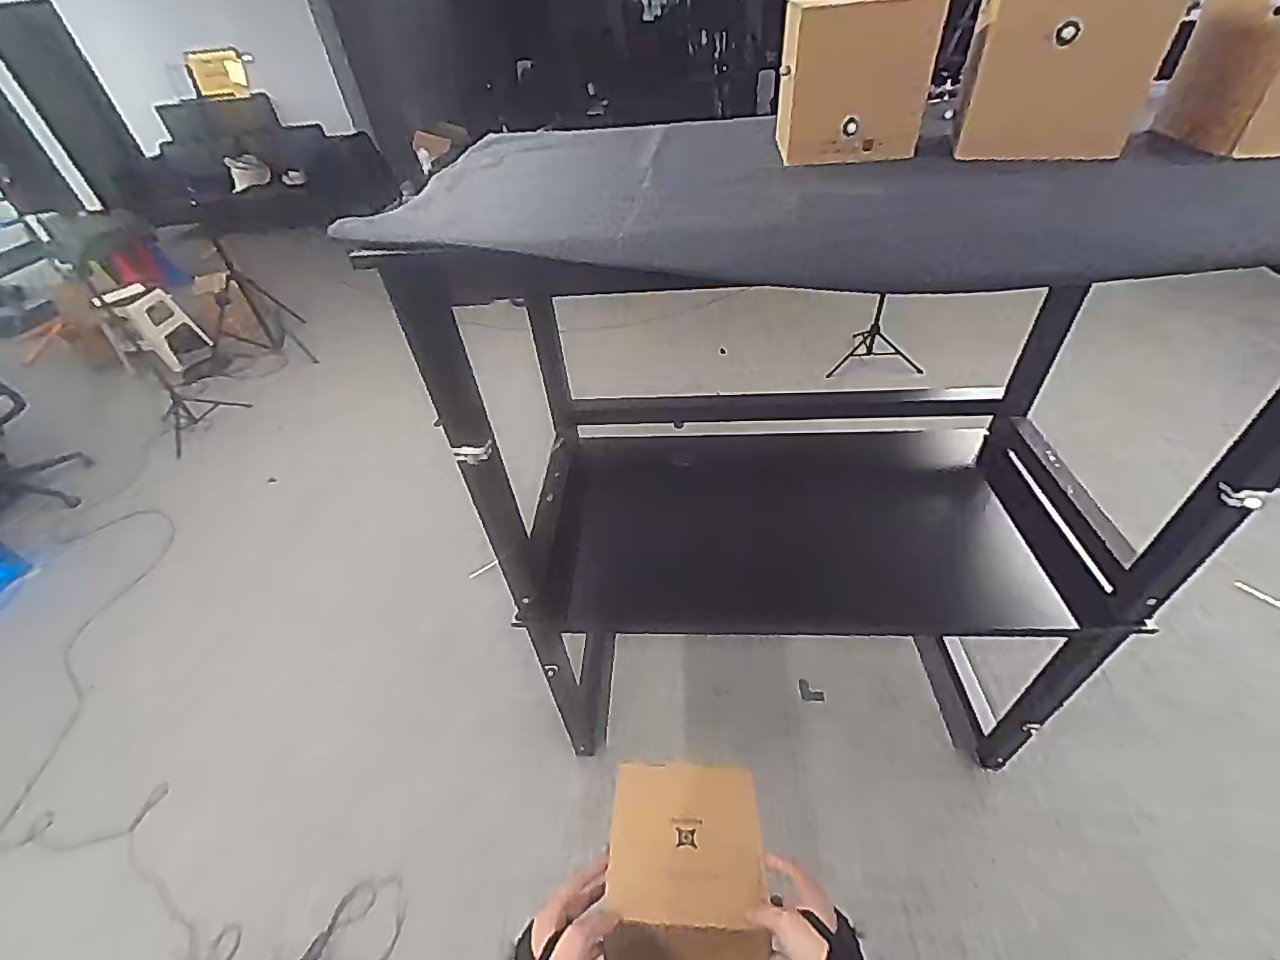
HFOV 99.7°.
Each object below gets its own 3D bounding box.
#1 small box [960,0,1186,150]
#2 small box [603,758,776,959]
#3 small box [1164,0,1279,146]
[{"bbox_3d":[0.505,-0.511,0.653,0.179,0.176,0.168,11,45,17],"label":"small box"},{"bbox_3d":[0.049,0.452,0.609,0.168,0.176,0.179,2,23,3],"label":"small box"},{"bbox_3d":[0.746,-0.479,0.591,0.168,0.176,0.179,2,43,10],"label":"small box"}]
